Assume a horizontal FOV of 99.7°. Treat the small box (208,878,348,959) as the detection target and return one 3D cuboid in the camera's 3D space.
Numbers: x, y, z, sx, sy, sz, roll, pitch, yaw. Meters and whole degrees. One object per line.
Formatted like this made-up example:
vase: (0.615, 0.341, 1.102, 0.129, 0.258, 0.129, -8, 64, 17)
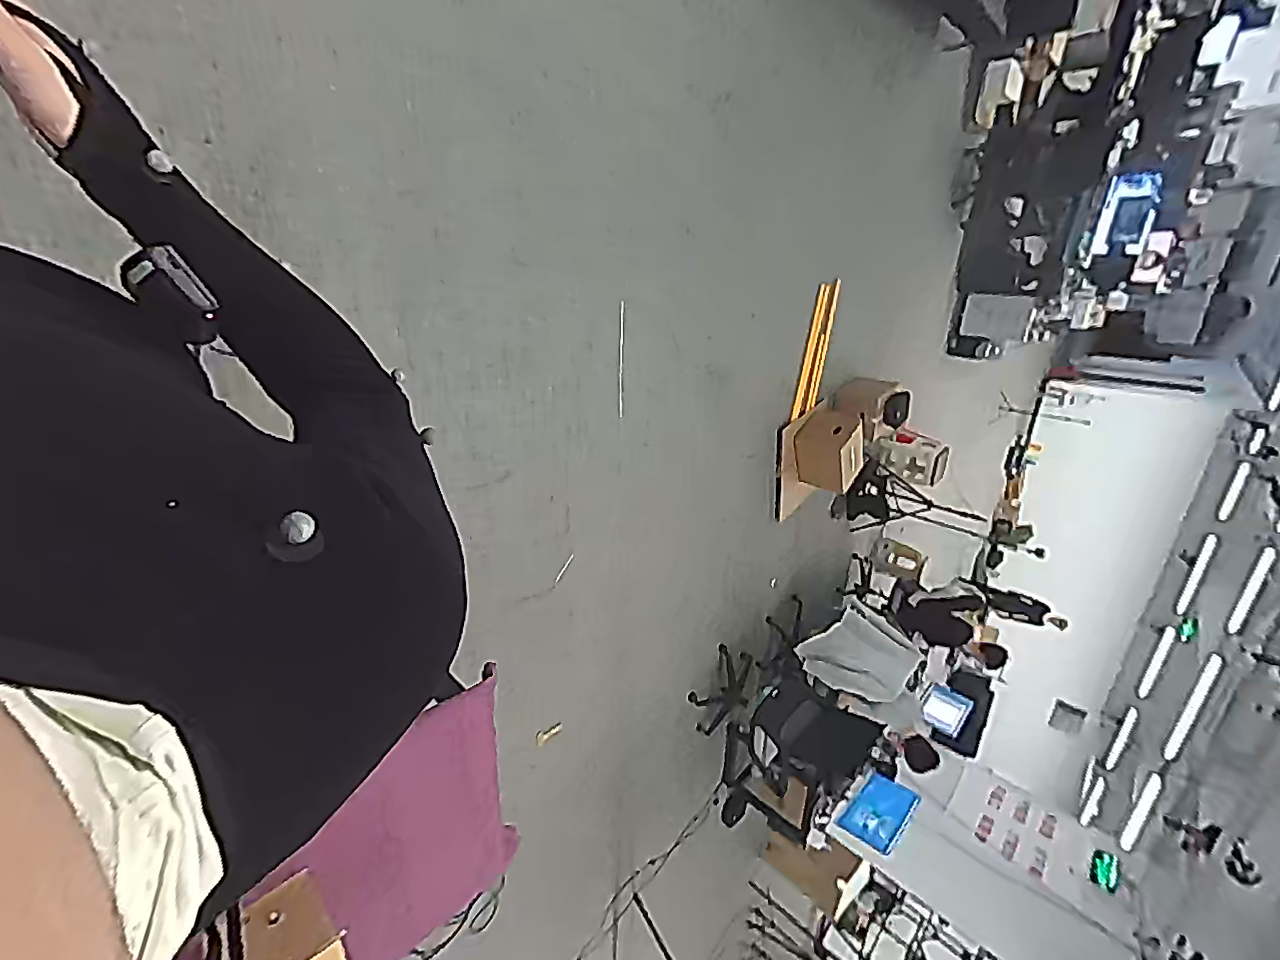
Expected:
small box: (-0.621, 0.861, 0.948, 0.168, 0.176, 0.179, -22, 120, -42)
